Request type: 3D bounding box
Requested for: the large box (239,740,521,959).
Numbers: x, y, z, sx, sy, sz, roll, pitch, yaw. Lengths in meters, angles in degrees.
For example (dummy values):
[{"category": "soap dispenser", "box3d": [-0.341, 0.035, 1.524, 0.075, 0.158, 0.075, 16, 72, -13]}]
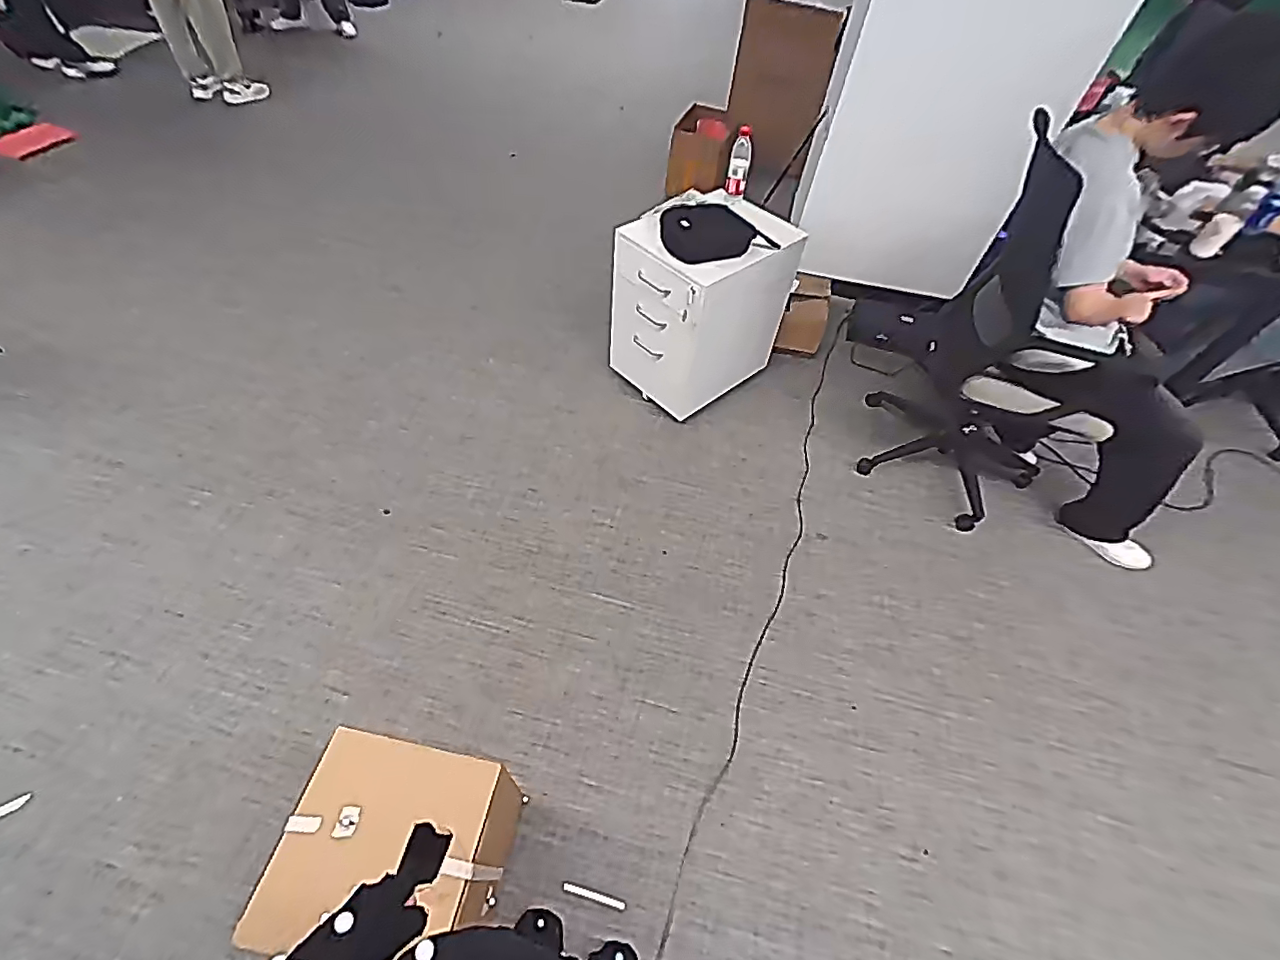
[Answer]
[{"category": "large box", "box3d": [-0.438, 0.720, 1.030, 0.320, 0.408, 0.320, 12, 54, 3]}]
